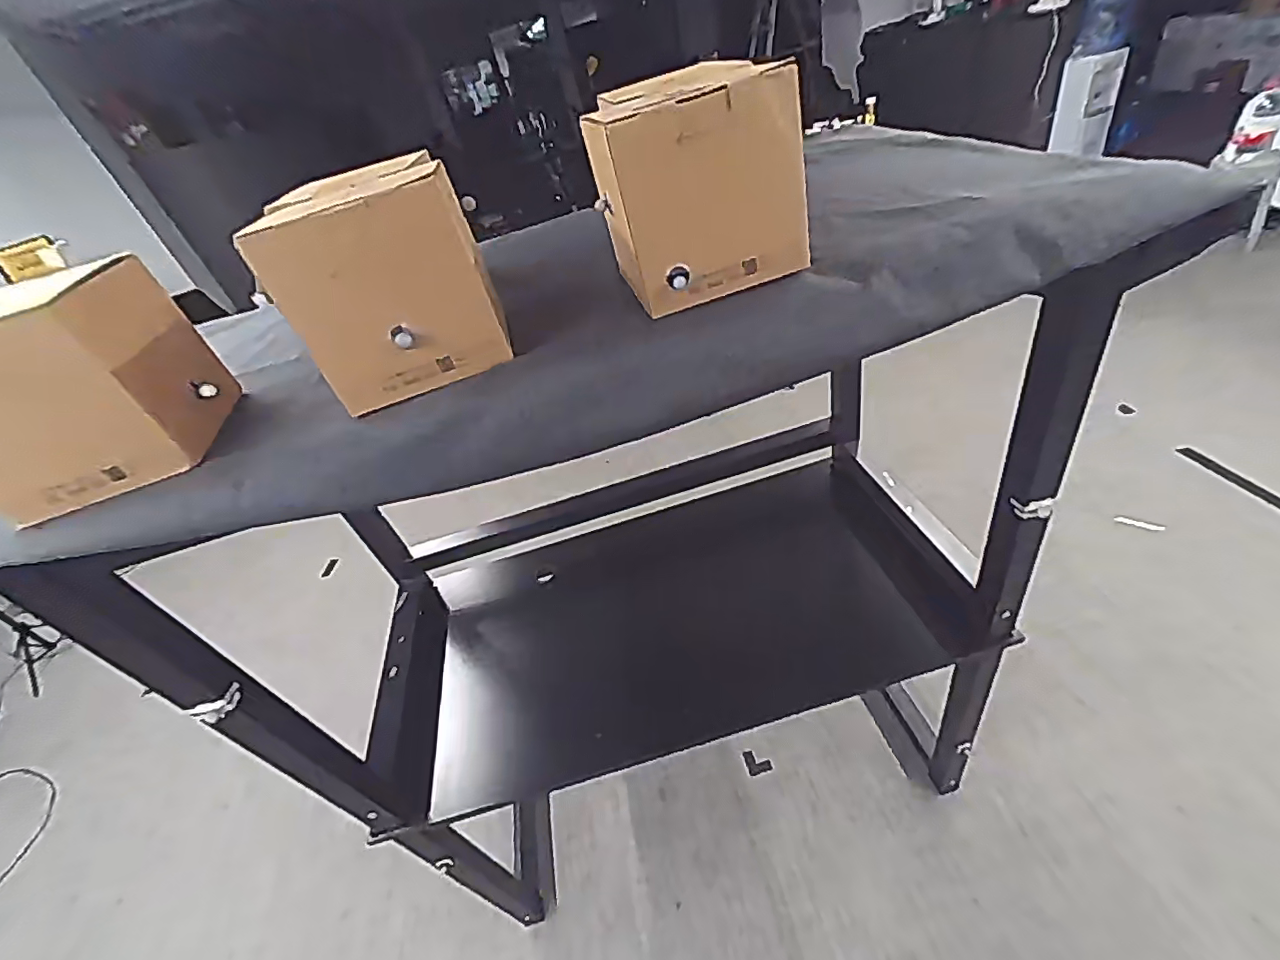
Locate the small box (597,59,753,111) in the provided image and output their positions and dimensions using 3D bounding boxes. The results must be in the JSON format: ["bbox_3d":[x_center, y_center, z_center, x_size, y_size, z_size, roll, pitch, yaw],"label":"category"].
[{"bbox_3d":[0.052,-0.431,0.716,0.168,0.176,0.179,-18,40,0],"label":"small box"}]

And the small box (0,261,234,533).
[{"bbox_3d":[-0.536,-0.082,0.513,0.168,0.176,0.179,-22,39,-6],"label":"small box"}]

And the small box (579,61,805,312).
[{"bbox_3d":[0.051,-0.285,0.538,0.168,0.176,0.179,-19,37,-1],"label":"small box"}]
